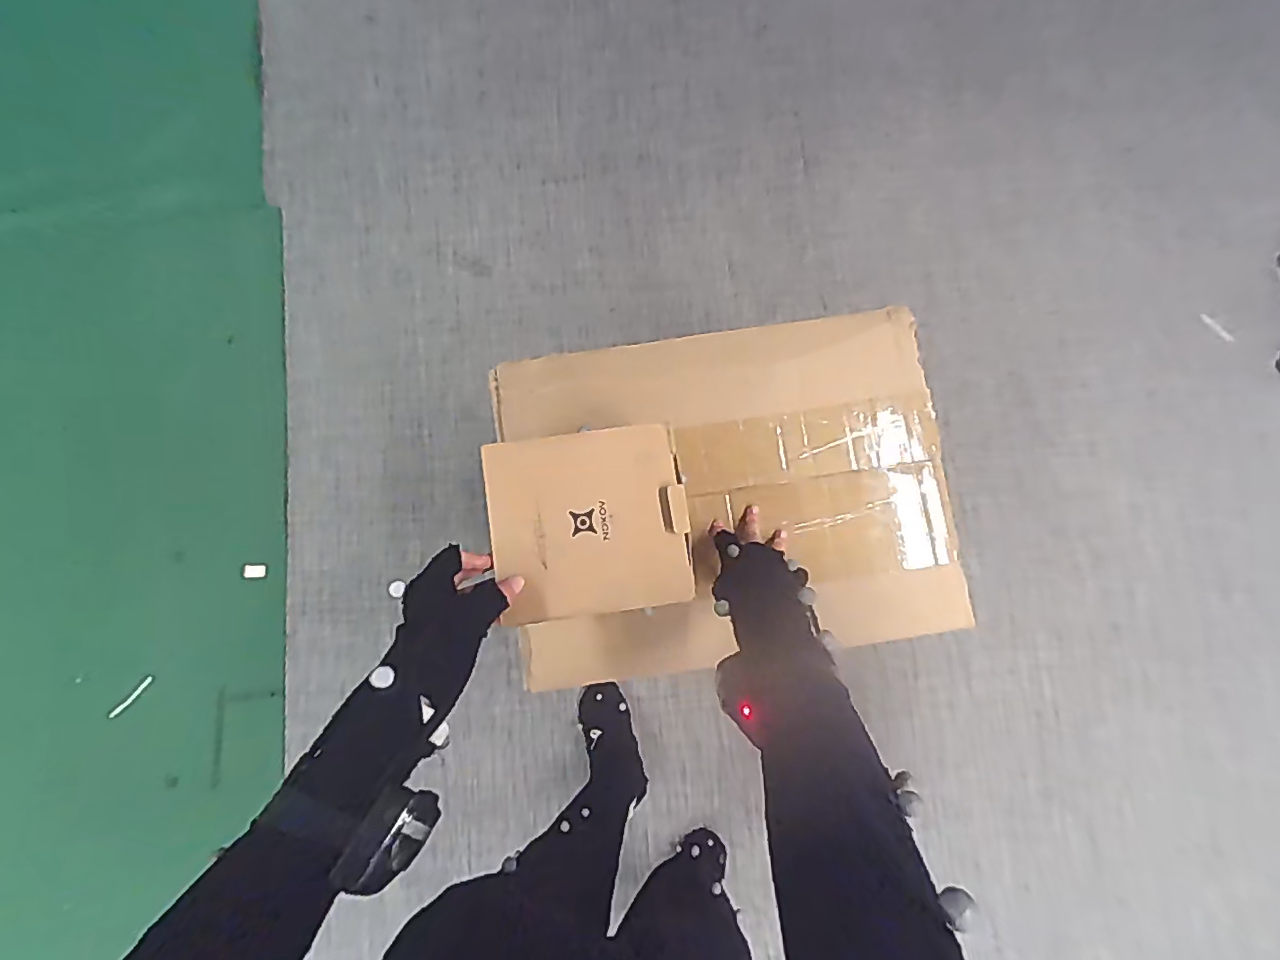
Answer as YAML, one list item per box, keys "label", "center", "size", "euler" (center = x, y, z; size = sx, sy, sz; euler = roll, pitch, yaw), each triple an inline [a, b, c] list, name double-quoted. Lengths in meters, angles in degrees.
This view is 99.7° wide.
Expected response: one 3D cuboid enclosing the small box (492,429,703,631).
- label: "small box"
  center: [-0.042, 0.053, 0.568]
  size: [0.179, 0.176, 0.168]
  euler: [-9, 82, -2]
